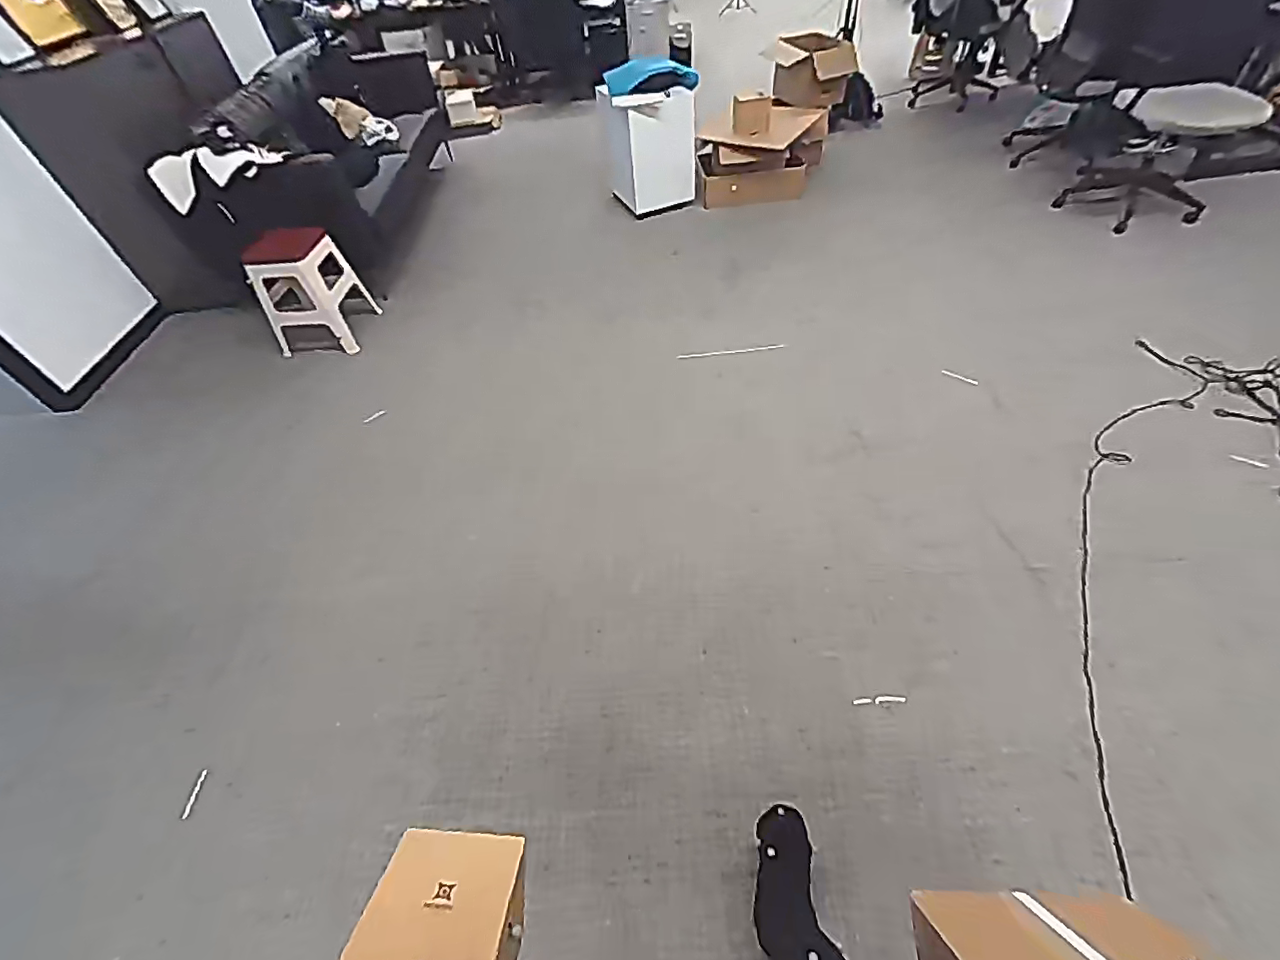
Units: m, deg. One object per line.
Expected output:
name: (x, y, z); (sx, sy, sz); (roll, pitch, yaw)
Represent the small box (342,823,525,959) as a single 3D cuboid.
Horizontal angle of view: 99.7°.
small box: (-0.250, 0.581, 0.684); (0.168, 0.176, 0.179); (5, 15, 0)
